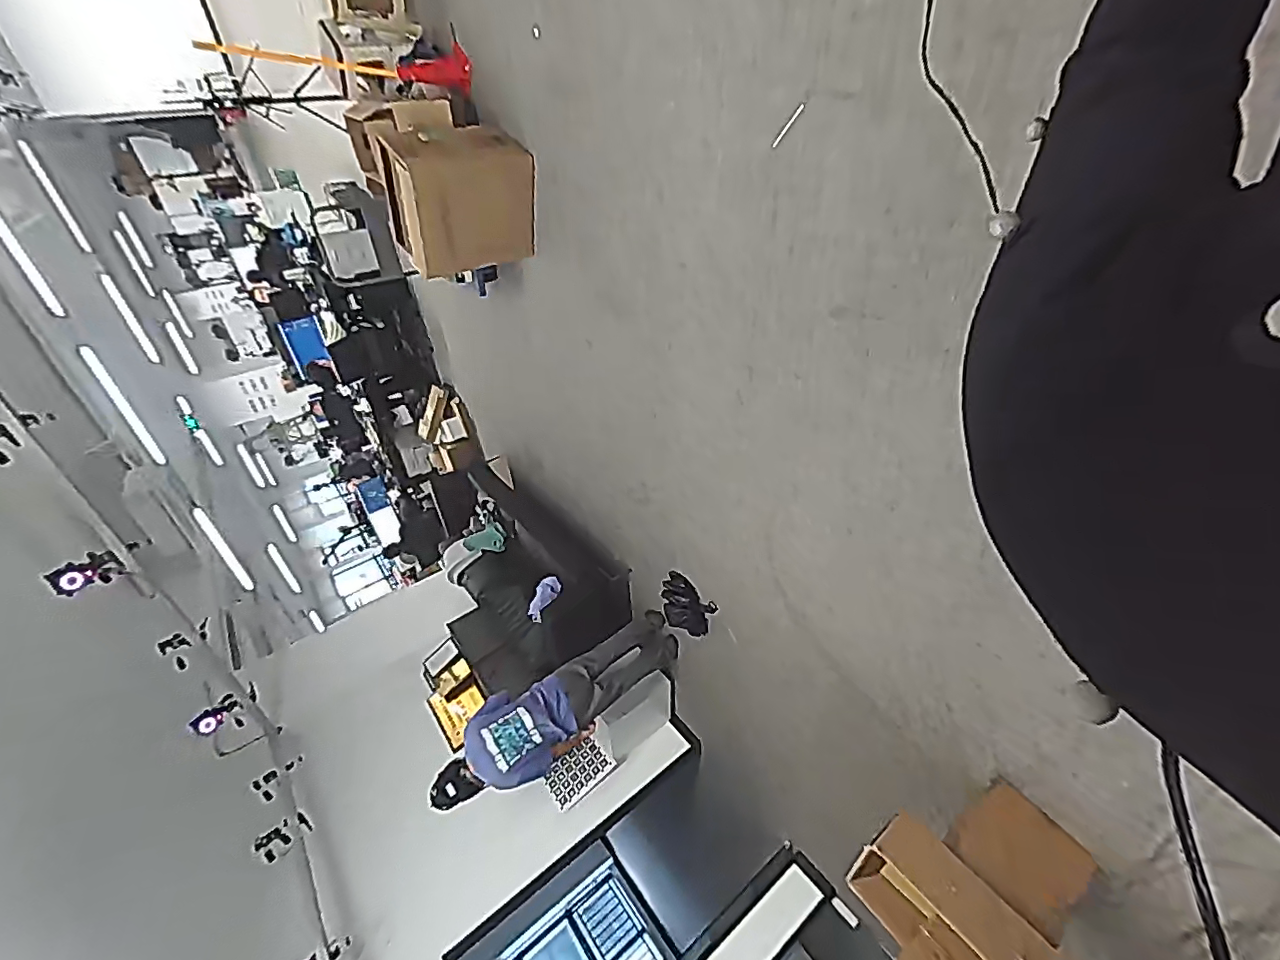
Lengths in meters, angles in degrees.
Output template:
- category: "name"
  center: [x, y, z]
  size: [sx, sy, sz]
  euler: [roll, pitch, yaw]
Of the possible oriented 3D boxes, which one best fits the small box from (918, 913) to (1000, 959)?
- category: "small box"
  center: [0.983, 1.490, 1.665]
  size: [0.168, 0.176, 0.179]
  euler: [39, 145, 42]
